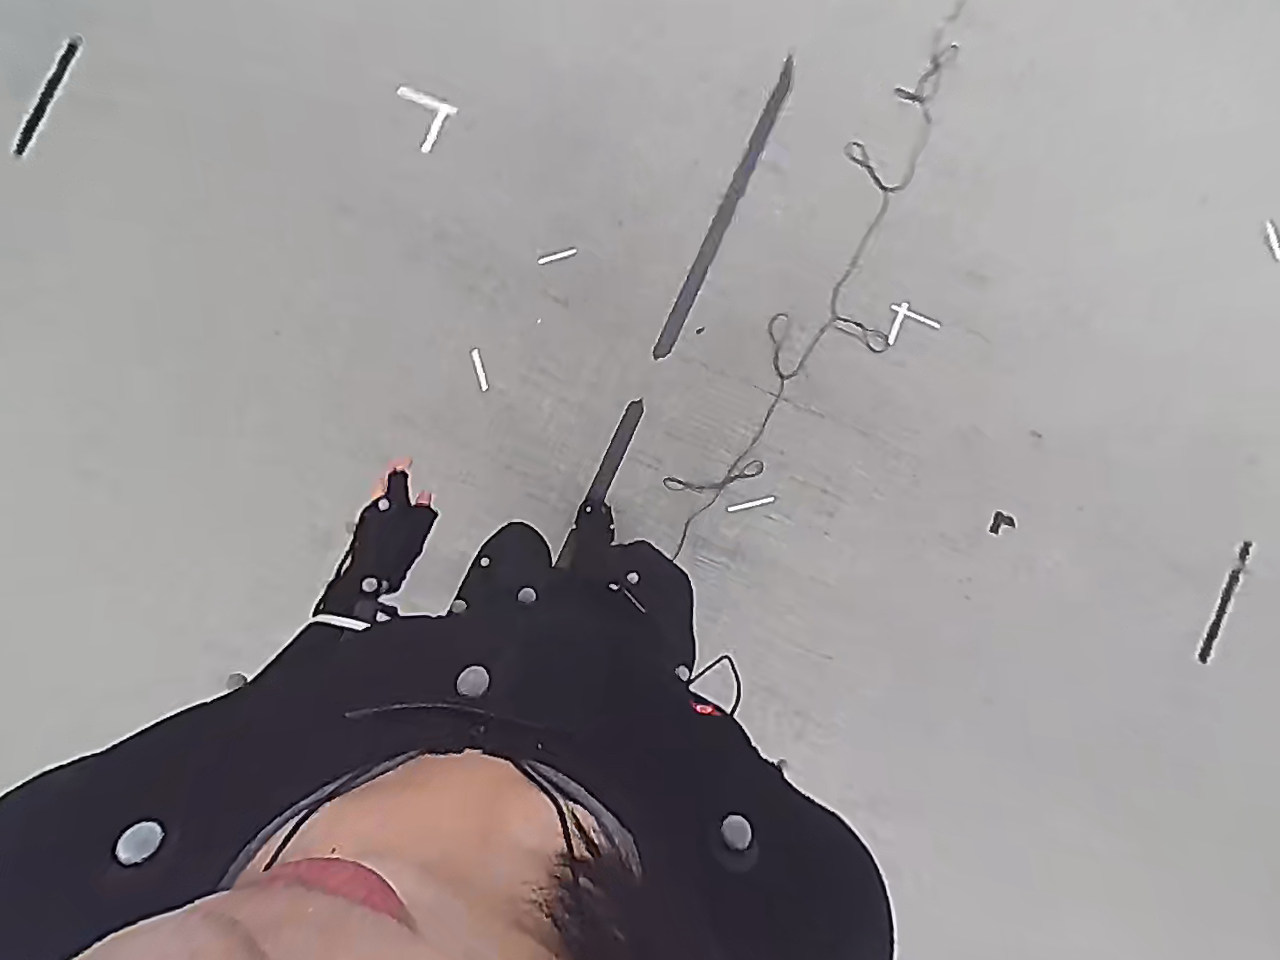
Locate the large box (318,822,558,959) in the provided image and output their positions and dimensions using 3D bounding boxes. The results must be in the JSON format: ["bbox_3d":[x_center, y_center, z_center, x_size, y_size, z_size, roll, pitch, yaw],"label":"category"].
[{"bbox_3d":[-0.412,0.987,1.127,0.408,0.320,0.320,14,85,-2],"label":"large box"}]
